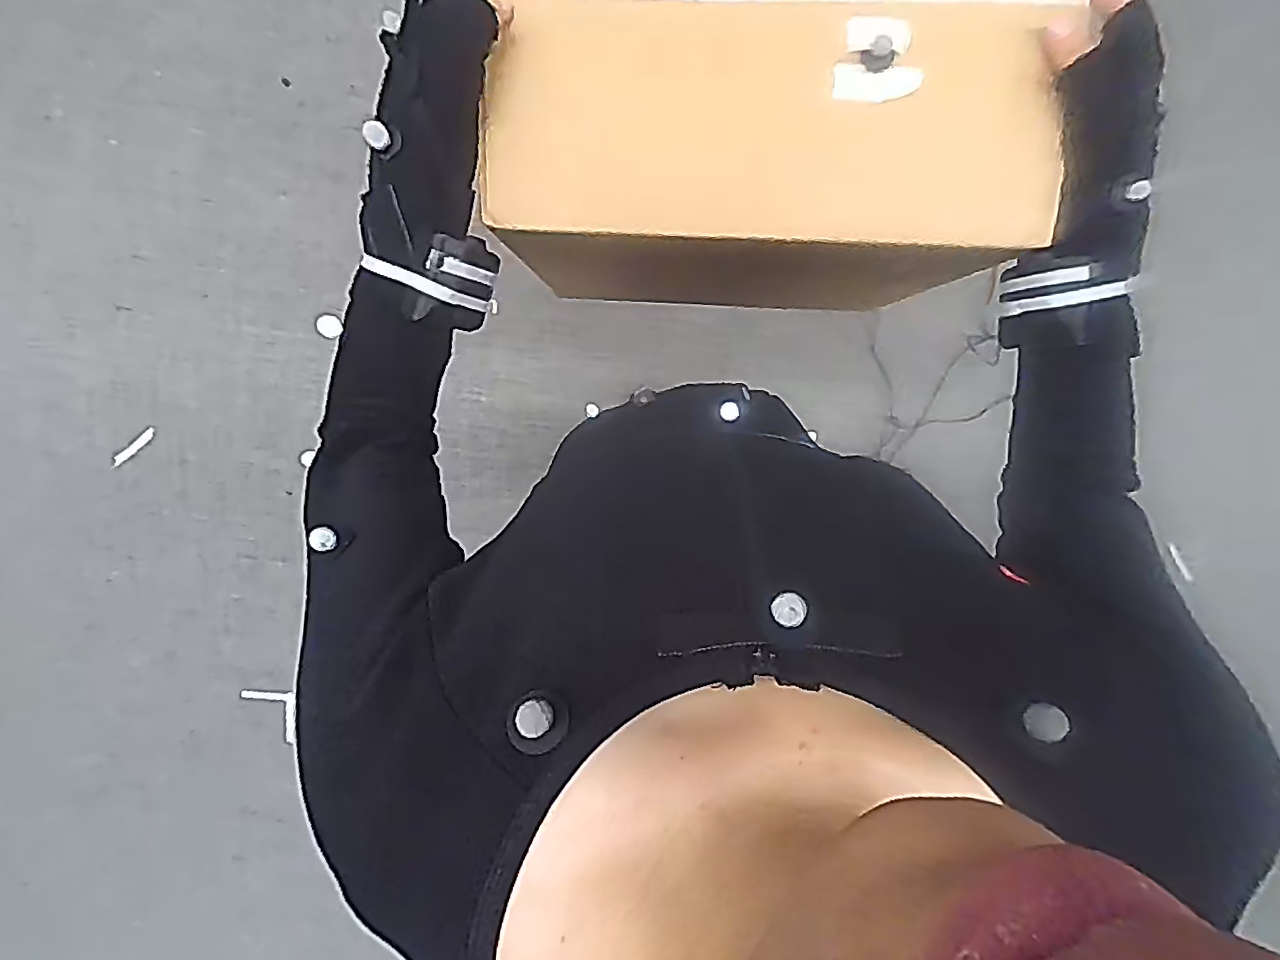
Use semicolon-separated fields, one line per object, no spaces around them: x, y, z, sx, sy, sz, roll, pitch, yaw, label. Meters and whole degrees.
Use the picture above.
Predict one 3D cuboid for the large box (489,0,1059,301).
0.092;-0.359;0.523;0.408;0.320;0.320;2;99;0;large box
